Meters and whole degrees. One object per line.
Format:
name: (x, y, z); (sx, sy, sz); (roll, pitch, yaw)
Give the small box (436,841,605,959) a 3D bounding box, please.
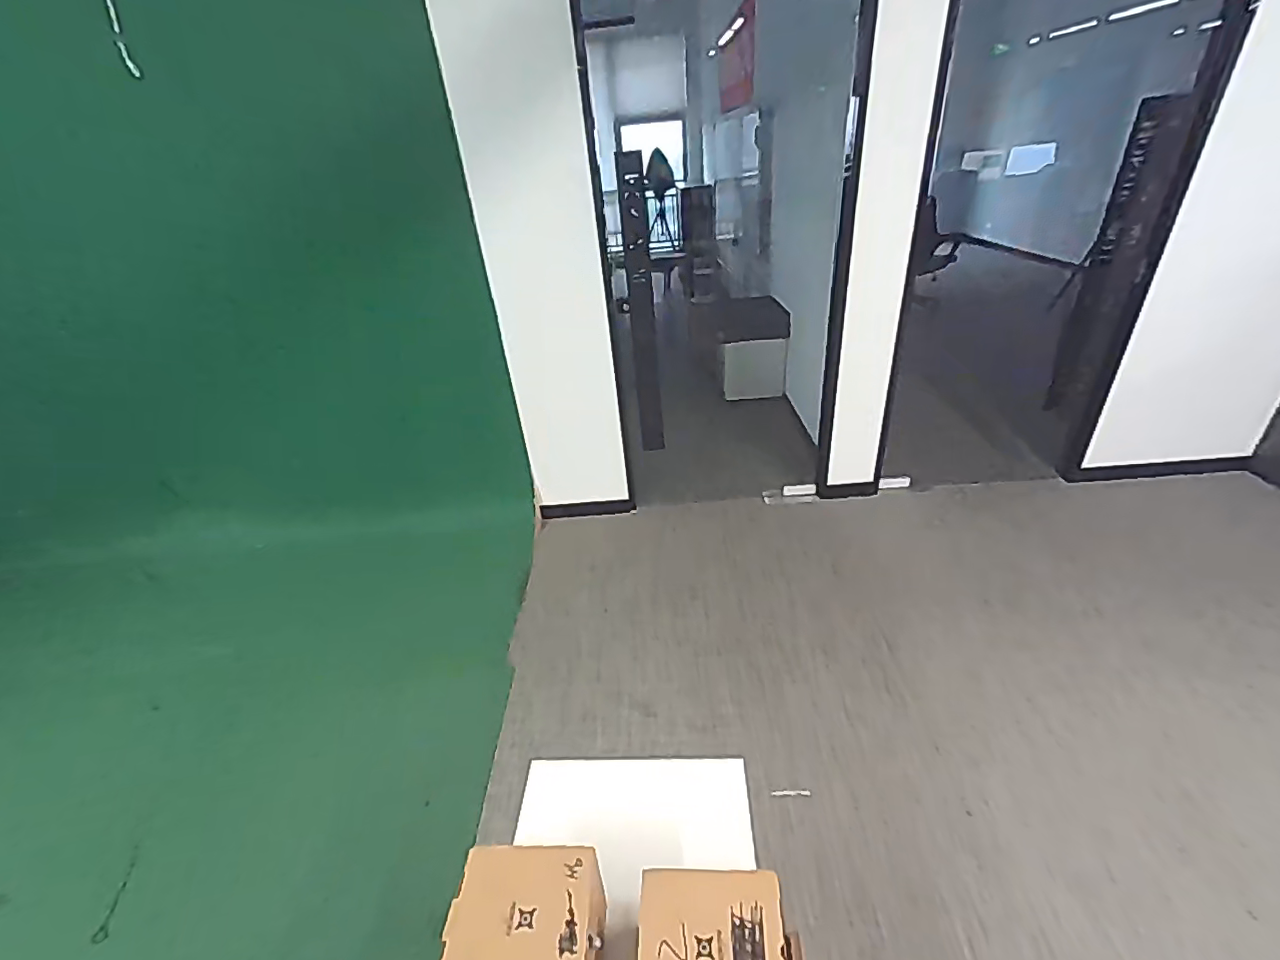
small box: (-0.148, 0.608, 0.714); (0.179, 0.176, 0.168); (-2, 31, 4)
